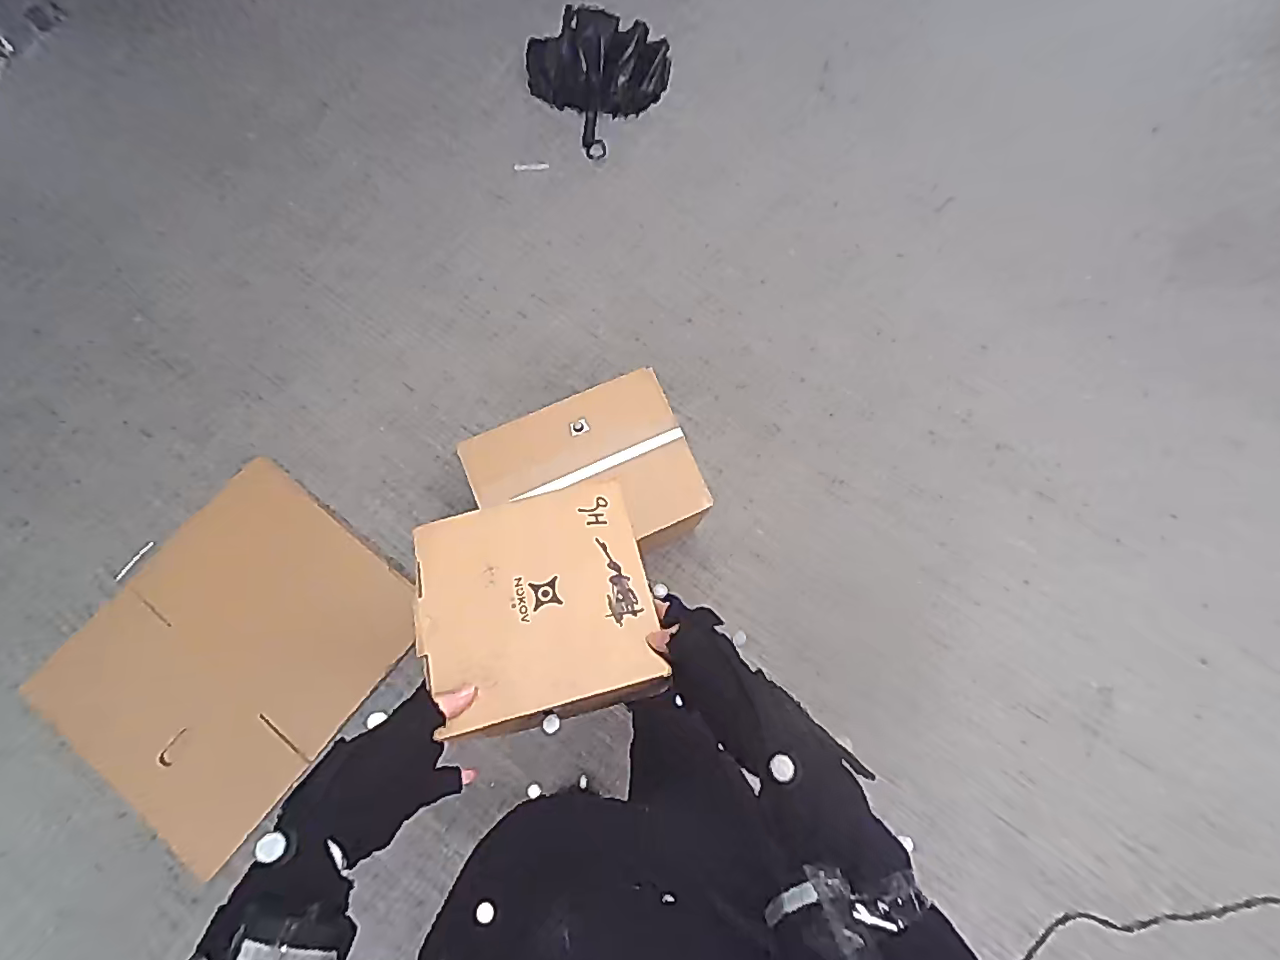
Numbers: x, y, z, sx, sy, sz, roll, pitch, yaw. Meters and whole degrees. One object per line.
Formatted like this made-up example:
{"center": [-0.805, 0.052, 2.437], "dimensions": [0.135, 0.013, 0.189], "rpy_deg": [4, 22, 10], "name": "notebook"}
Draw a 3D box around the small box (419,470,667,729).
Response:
{"center": [-0.079, 0.121, 0.506], "dimensions": [0.179, 0.176, 0.168], "rpy_deg": [-18, 63, -6], "name": "small box"}
